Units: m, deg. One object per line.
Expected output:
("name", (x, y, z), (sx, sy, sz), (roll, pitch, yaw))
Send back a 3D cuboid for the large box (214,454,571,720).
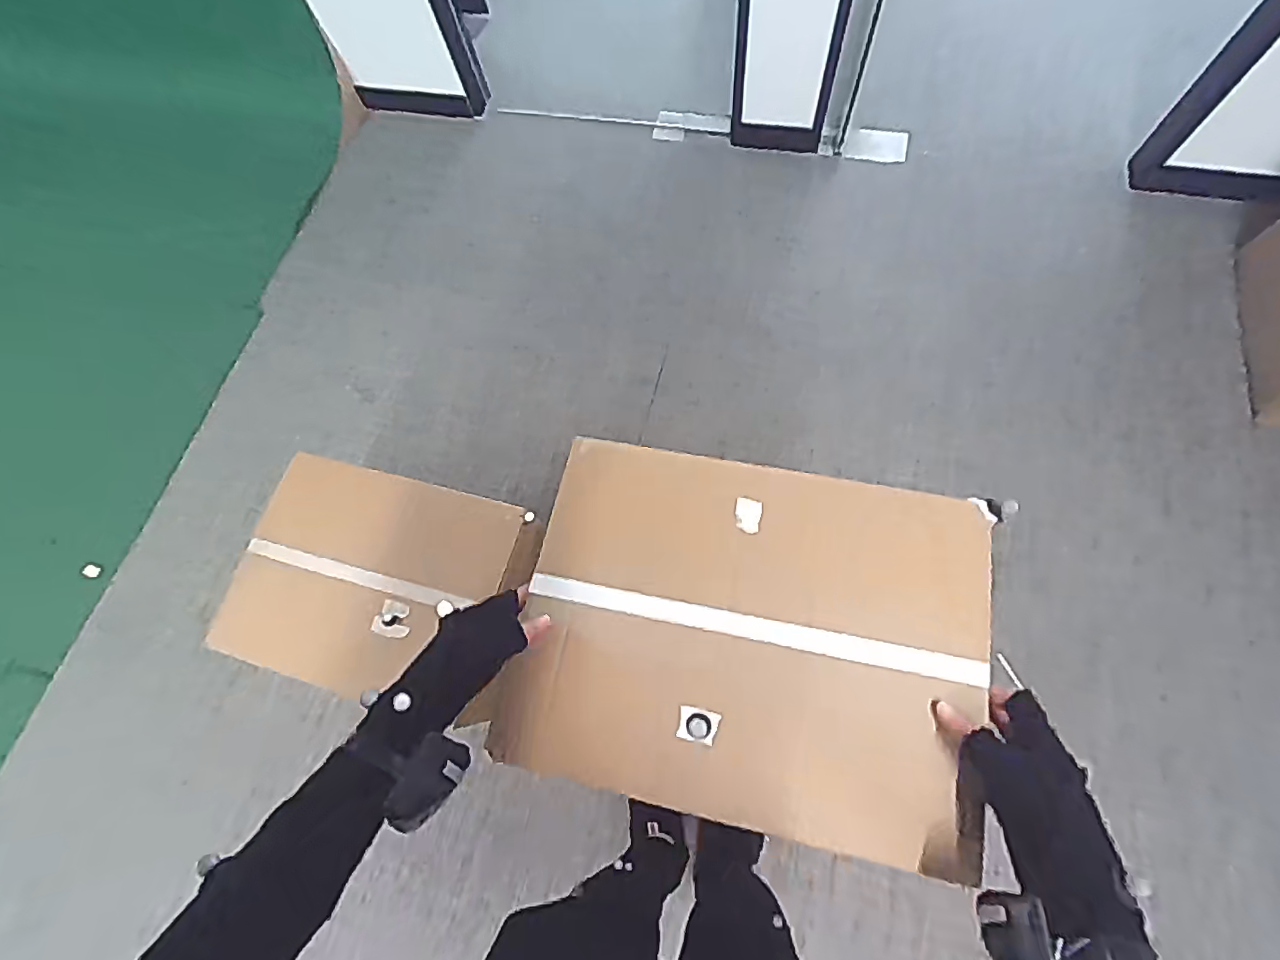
("large box", (-0.377, 0.187, 0.932), (0.408, 0.320, 0.320), (14, 74, 9))
